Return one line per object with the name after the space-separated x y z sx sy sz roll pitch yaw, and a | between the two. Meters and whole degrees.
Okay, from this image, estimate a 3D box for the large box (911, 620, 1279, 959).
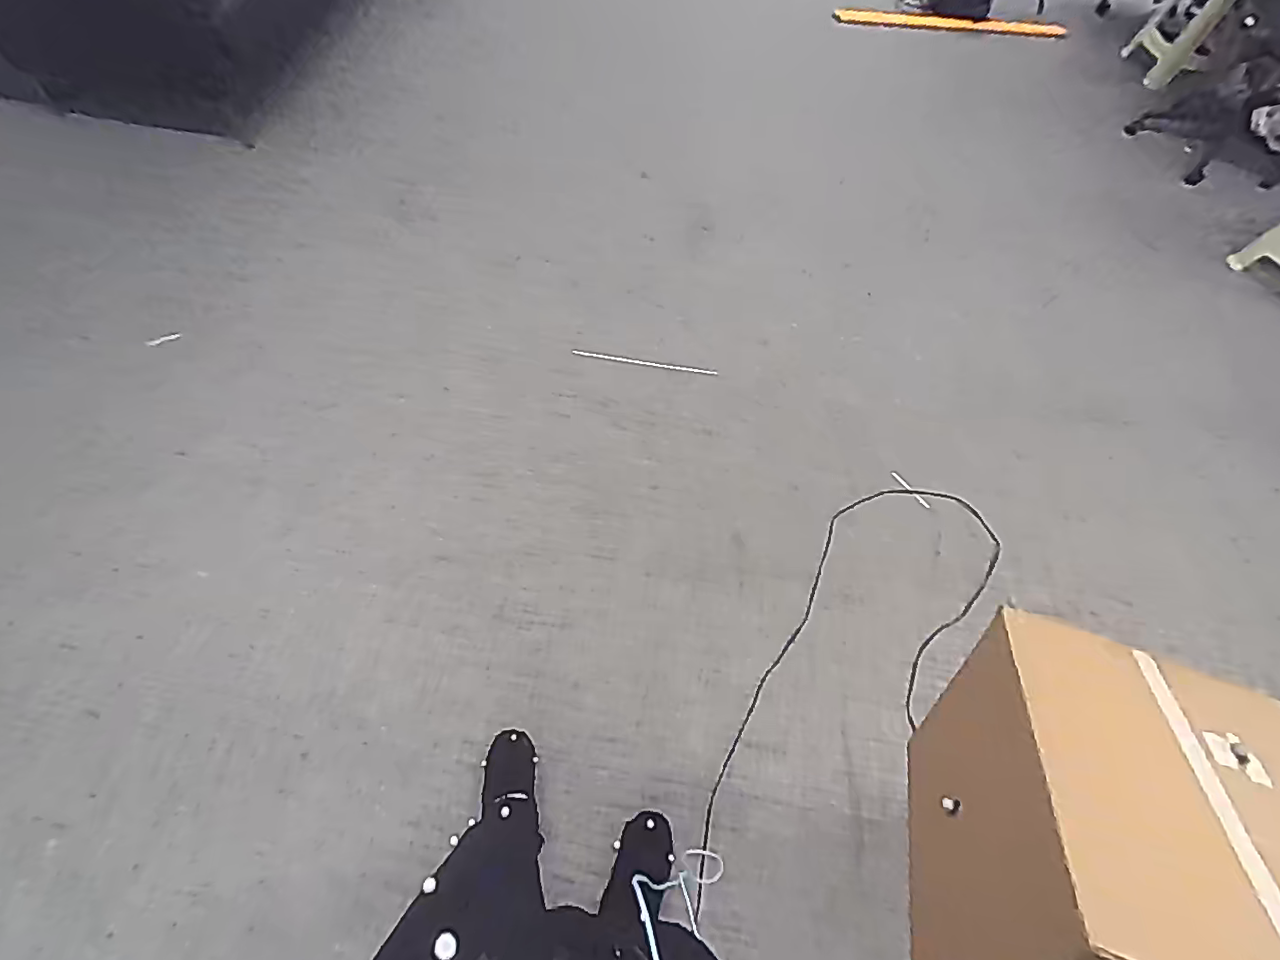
0.525 0.445 0.604 0.320 0.320 0.408 19 31 15 | large box
